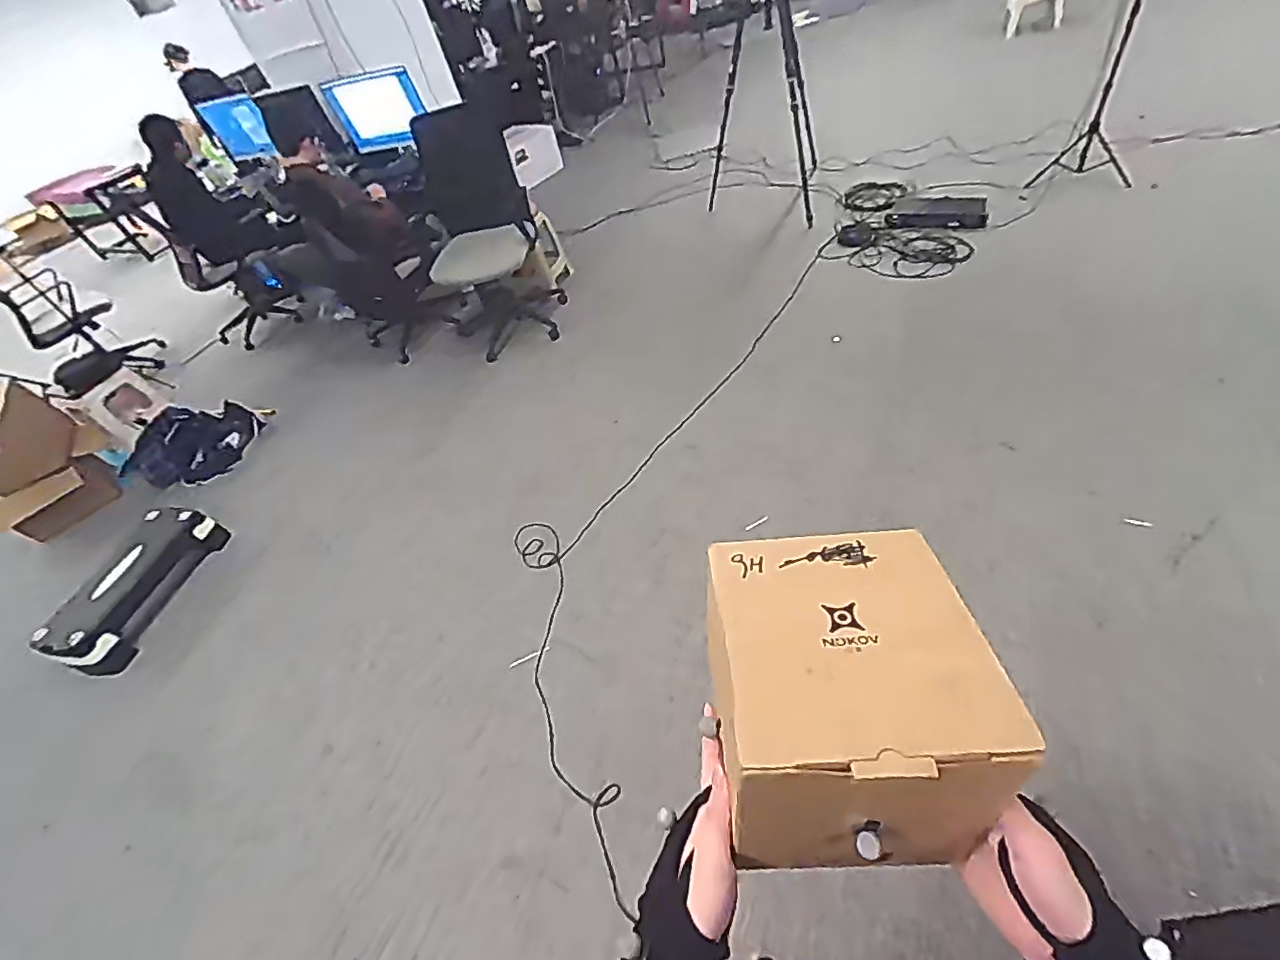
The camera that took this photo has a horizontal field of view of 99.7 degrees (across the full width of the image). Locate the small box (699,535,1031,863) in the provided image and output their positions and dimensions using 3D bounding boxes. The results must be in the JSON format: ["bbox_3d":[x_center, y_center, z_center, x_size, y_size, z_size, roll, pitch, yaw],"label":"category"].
[{"bbox_3d":[0.133,0.164,0.401,0.168,0.176,0.179,-3,40,3],"label":"small box"}]
